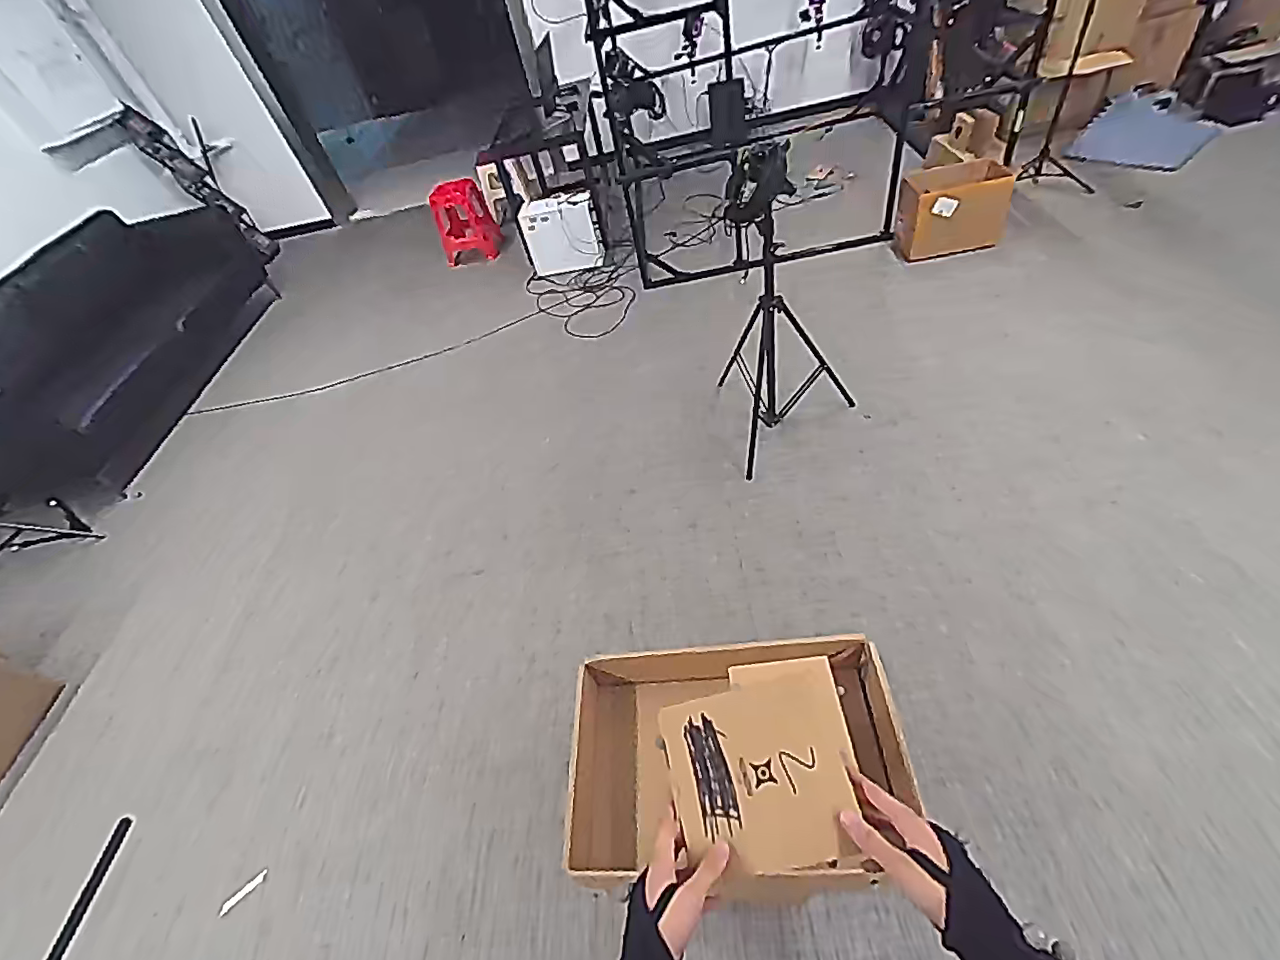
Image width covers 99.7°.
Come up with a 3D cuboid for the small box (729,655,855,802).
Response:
[{"bbox_3d":[0.246,0.418,0.907,0.168,0.176,0.179,-10,48,8],"label":"small box"}]
